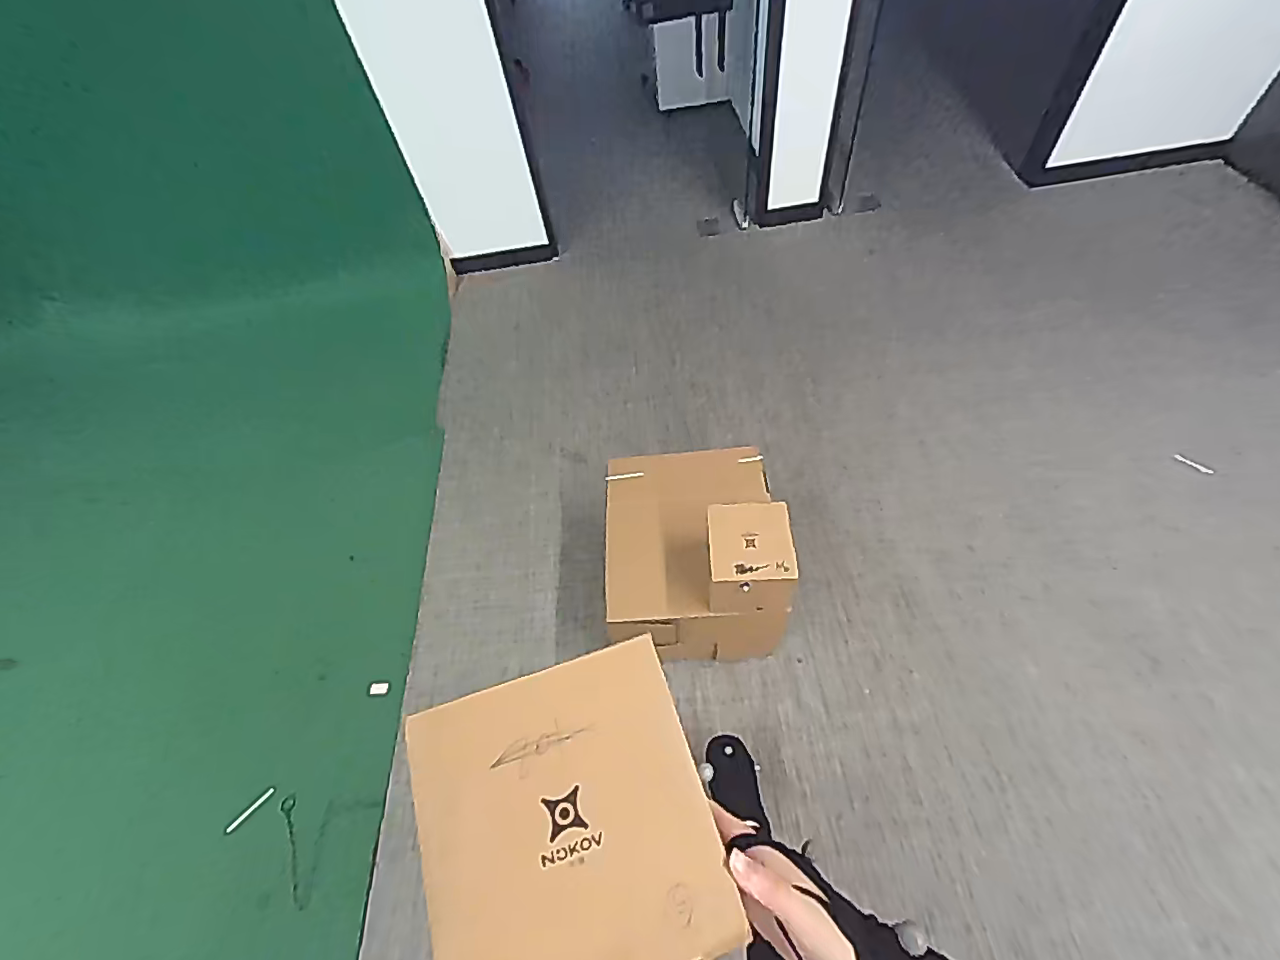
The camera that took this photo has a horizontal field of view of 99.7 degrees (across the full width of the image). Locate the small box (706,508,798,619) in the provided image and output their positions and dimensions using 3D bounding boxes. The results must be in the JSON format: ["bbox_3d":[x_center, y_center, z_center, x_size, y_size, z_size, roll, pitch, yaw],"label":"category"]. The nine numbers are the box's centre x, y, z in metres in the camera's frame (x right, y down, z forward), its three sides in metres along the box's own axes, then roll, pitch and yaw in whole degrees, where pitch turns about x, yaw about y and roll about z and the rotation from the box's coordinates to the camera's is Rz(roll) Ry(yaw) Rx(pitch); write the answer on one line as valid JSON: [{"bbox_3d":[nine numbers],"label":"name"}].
[{"bbox_3d":[0.226,0.177,1.134,0.168,0.176,0.179,-3,53,5],"label":"small box"}]

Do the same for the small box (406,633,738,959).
[{"bbox_3d":[-0.049,0.235,0.389,0.168,0.176,0.179,-15,62,-11],"label":"small box"}]
